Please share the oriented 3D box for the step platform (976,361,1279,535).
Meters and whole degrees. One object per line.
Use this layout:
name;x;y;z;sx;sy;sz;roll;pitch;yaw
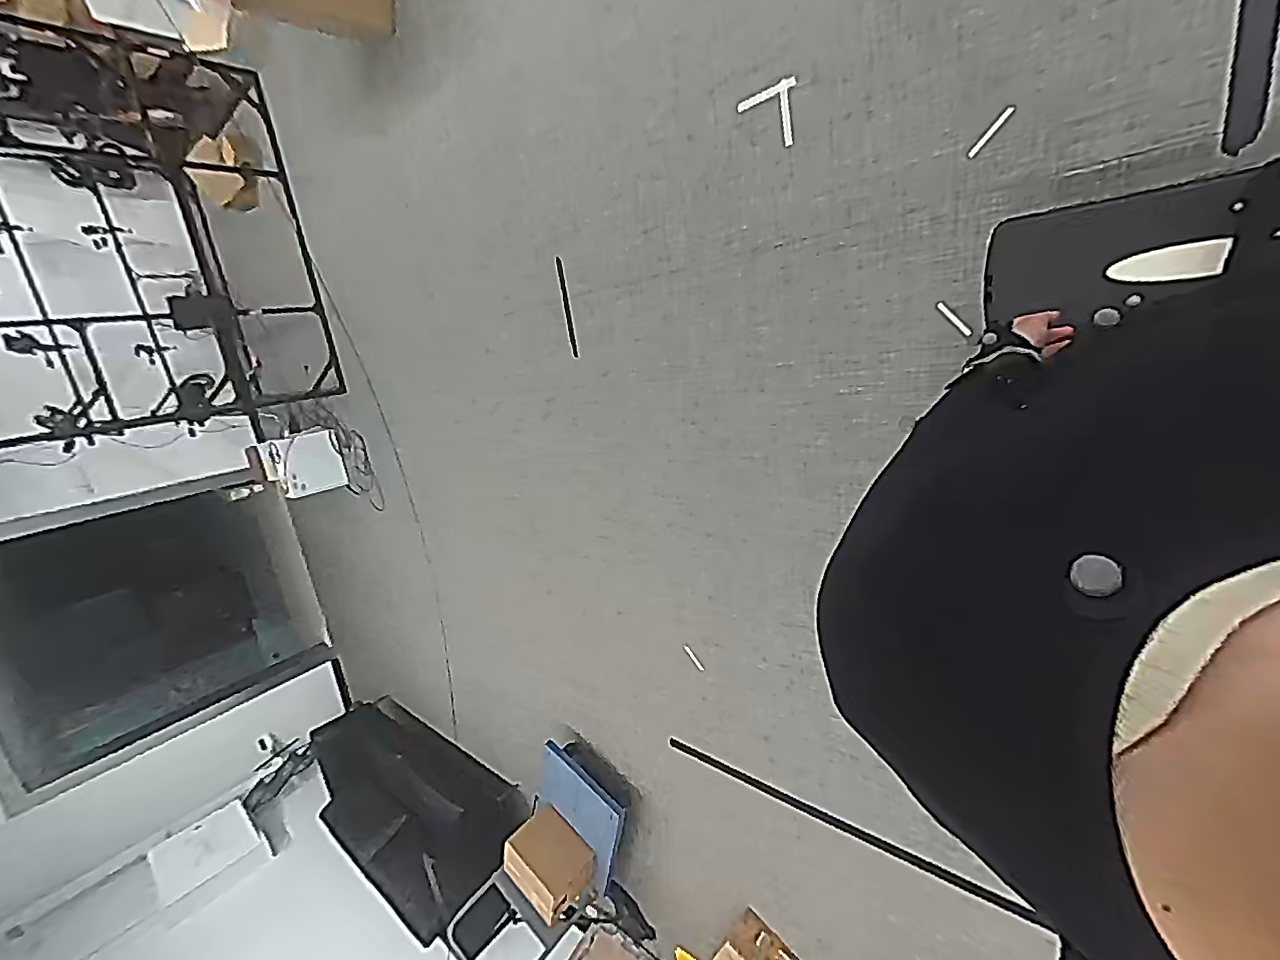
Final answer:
step platform;1.050;-0.076;1.042;0.684;0.204;0.286;12;112;42
